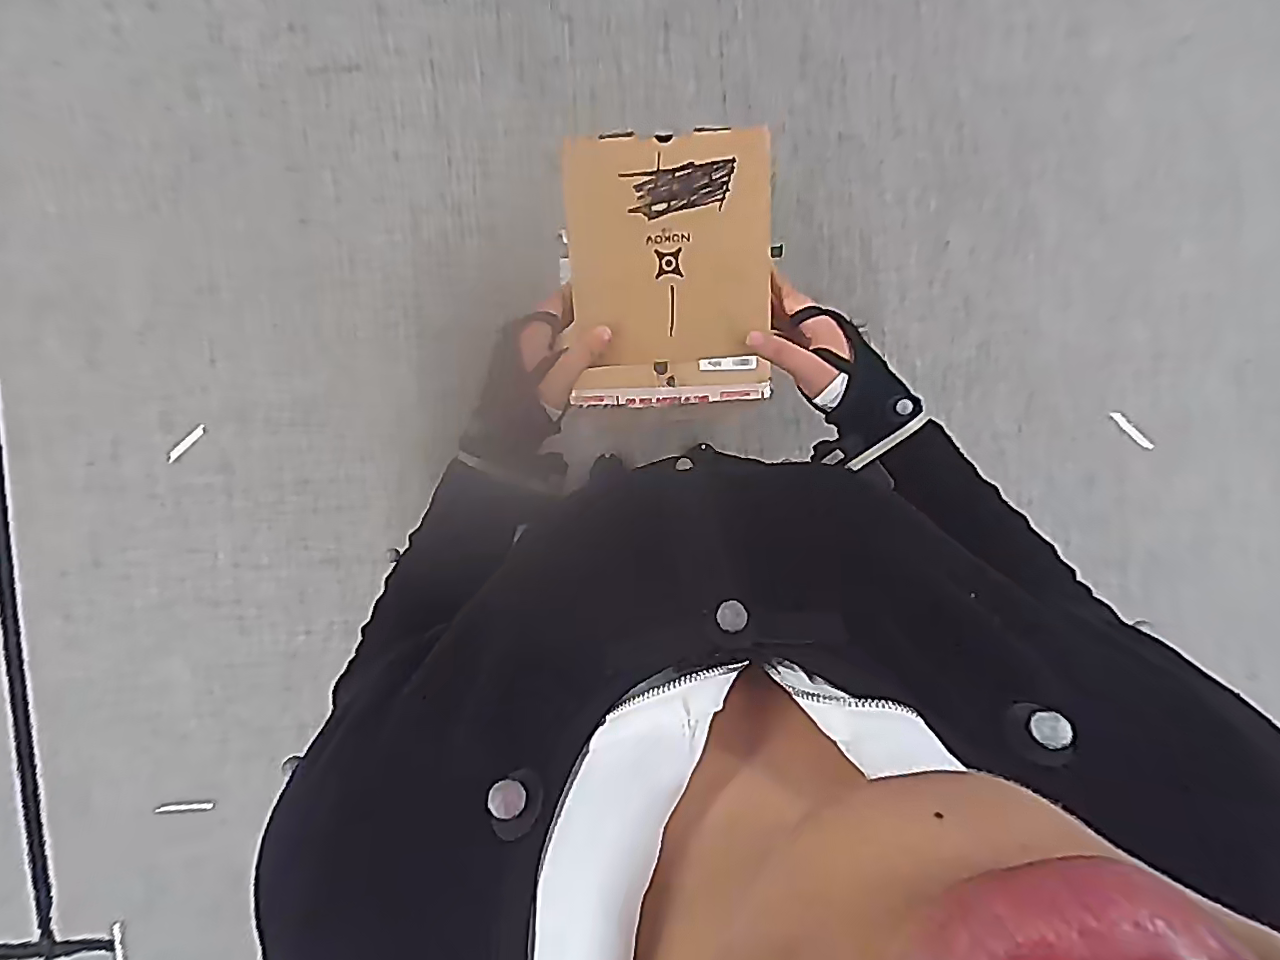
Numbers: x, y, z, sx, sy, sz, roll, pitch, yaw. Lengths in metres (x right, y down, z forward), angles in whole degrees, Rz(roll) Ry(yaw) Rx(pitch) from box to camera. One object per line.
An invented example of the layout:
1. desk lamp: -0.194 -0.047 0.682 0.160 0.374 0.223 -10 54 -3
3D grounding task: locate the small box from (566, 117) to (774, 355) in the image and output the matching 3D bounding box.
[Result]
1. small box: 0.025 -0.213 0.516 0.168 0.176 0.179 -4 105 0
